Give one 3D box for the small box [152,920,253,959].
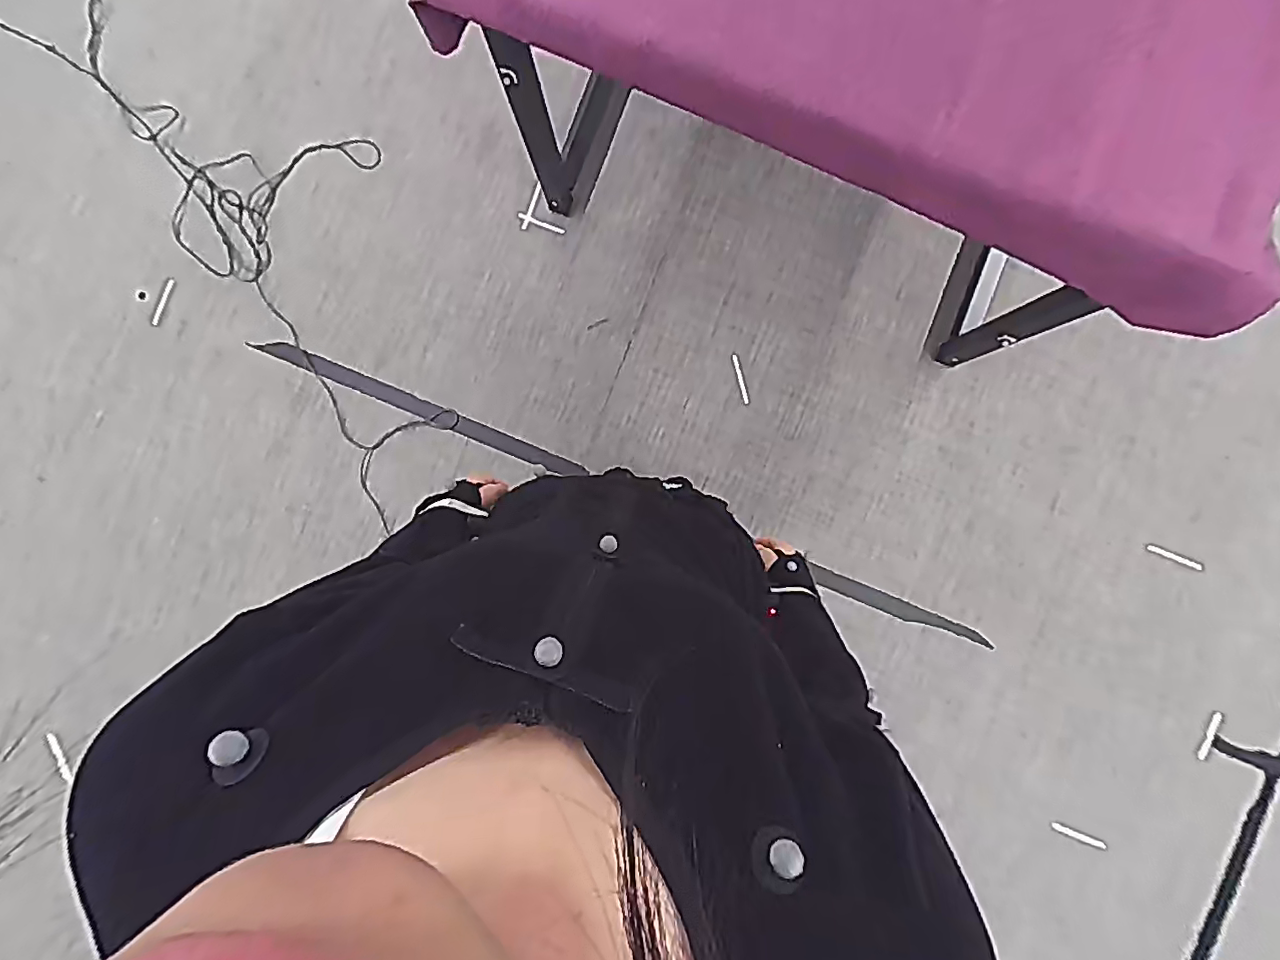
[{"bbox_3d":[-0.941,1.071,1.124,0.179,0.176,0.168,-17,89,2],"label":"small box"}]
